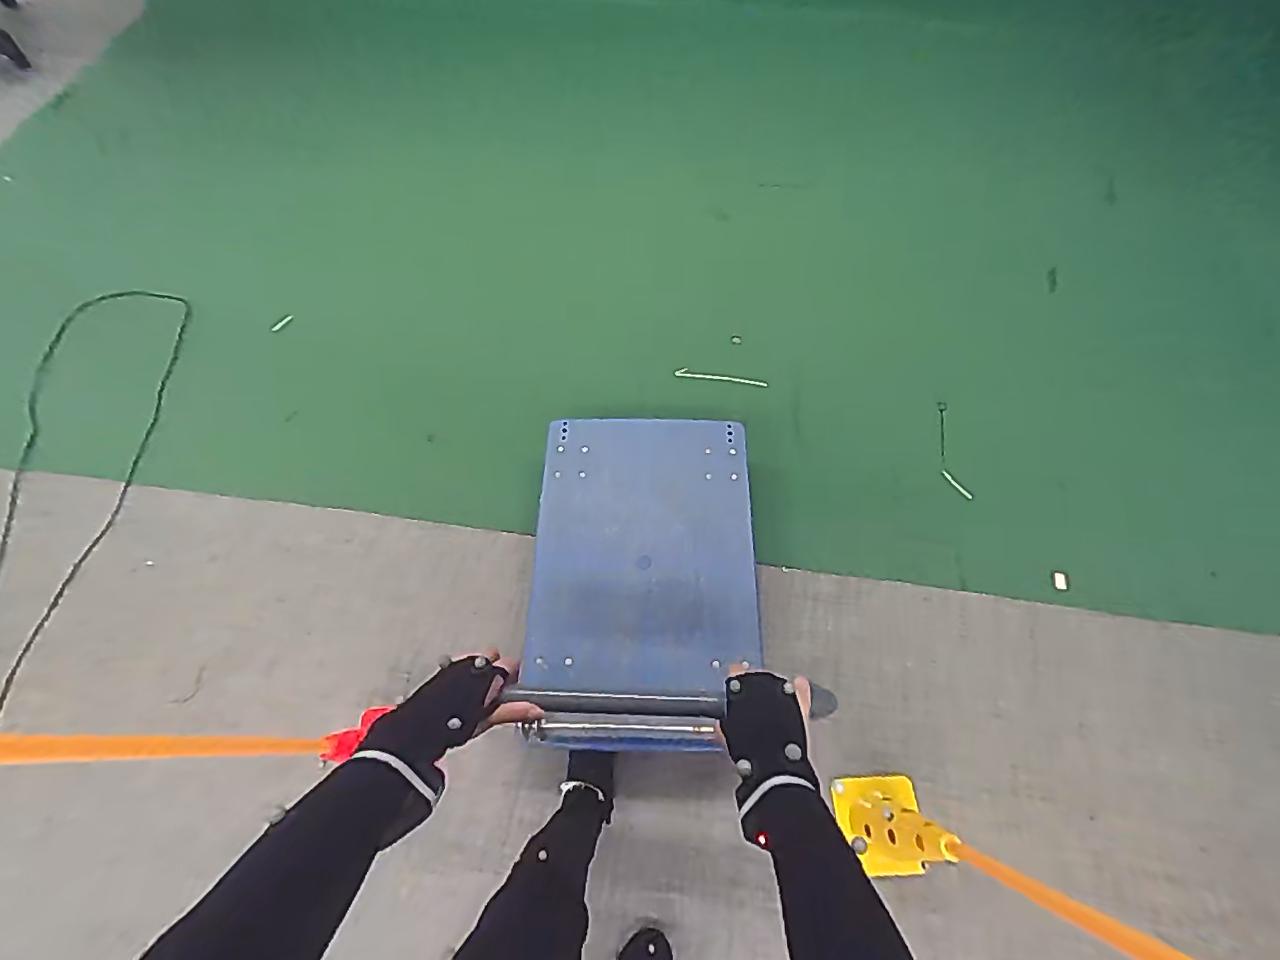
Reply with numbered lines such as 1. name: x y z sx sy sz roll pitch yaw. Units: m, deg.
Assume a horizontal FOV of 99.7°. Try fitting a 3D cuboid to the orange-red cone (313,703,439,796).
1. orange-red cone: -0.610 0.593 1.197 0.199 0.360 0.198 -6 63 -1
